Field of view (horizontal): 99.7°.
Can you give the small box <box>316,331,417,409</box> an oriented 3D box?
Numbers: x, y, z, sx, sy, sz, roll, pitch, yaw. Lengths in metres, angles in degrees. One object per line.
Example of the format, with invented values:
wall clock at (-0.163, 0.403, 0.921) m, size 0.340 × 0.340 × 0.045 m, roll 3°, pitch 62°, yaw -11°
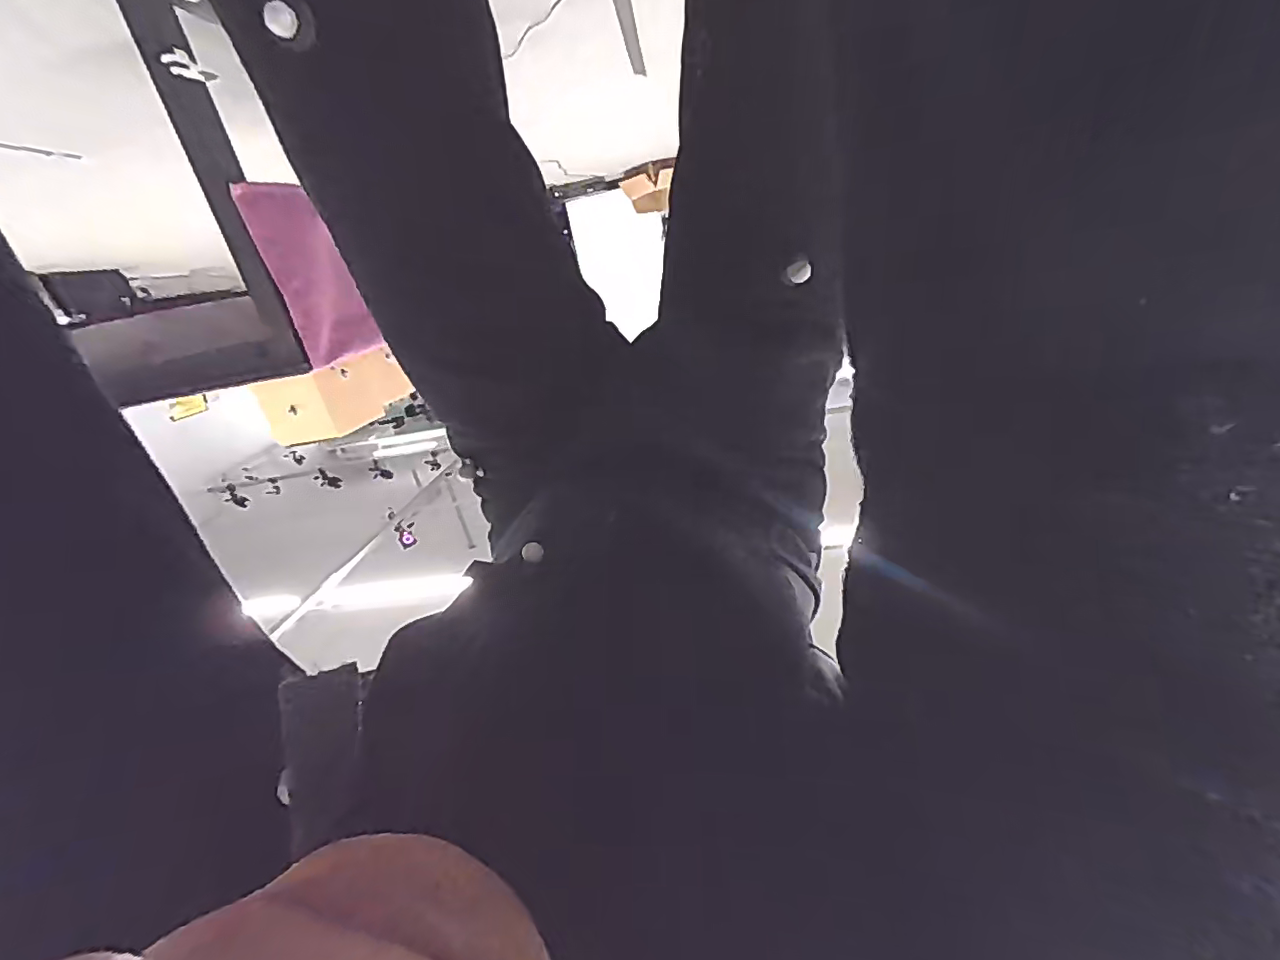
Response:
small box at (-0.771, -0.314, 1.519) m, size 0.179 × 0.176 × 0.168 m, roll -7°, pitch -157°, yaw 14°
